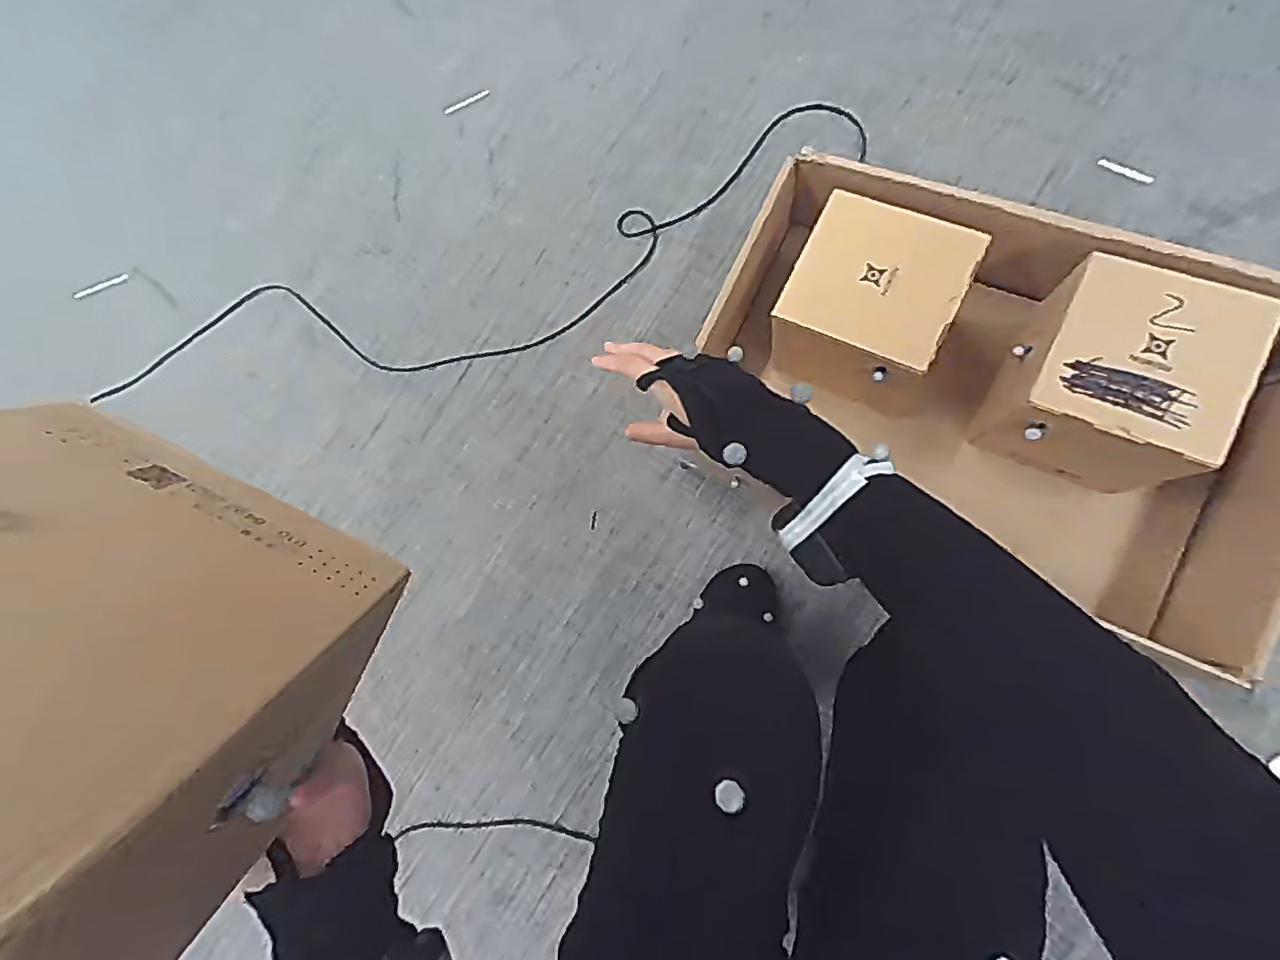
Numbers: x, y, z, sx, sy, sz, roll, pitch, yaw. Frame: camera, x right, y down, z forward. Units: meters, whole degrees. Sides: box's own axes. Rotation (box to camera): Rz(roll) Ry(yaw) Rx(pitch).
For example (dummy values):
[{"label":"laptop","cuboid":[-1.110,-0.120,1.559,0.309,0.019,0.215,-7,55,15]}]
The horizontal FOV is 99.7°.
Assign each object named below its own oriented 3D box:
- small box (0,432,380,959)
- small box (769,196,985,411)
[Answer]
[{"label":"small box","cuboid":[-0.230,0.102,0.197,0.168,0.176,0.179,30,106,-4]},{"label":"small box","cuboid":[0.271,-0.203,0.665,0.179,0.176,0.168,26,88,15]}]
